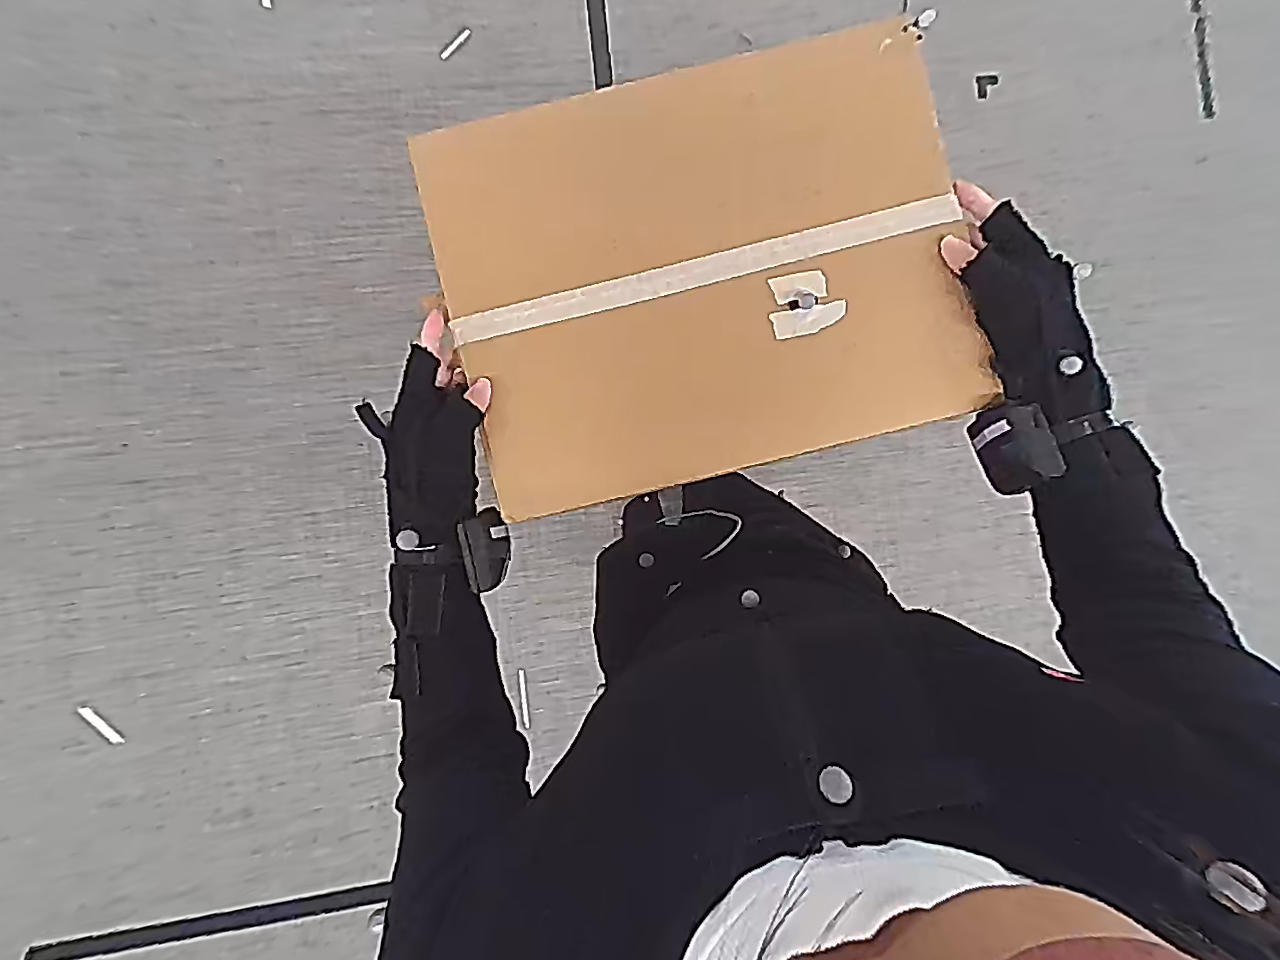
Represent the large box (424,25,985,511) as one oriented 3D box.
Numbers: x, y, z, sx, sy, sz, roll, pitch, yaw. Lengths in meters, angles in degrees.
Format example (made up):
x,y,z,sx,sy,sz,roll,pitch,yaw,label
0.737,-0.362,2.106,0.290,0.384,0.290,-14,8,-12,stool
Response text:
x,y,z,sx,sy,sz,roll,pitch,yaw,label
0.050,-0.172,0.585,0.408,0.320,0.320,-14,91,-1,large box
